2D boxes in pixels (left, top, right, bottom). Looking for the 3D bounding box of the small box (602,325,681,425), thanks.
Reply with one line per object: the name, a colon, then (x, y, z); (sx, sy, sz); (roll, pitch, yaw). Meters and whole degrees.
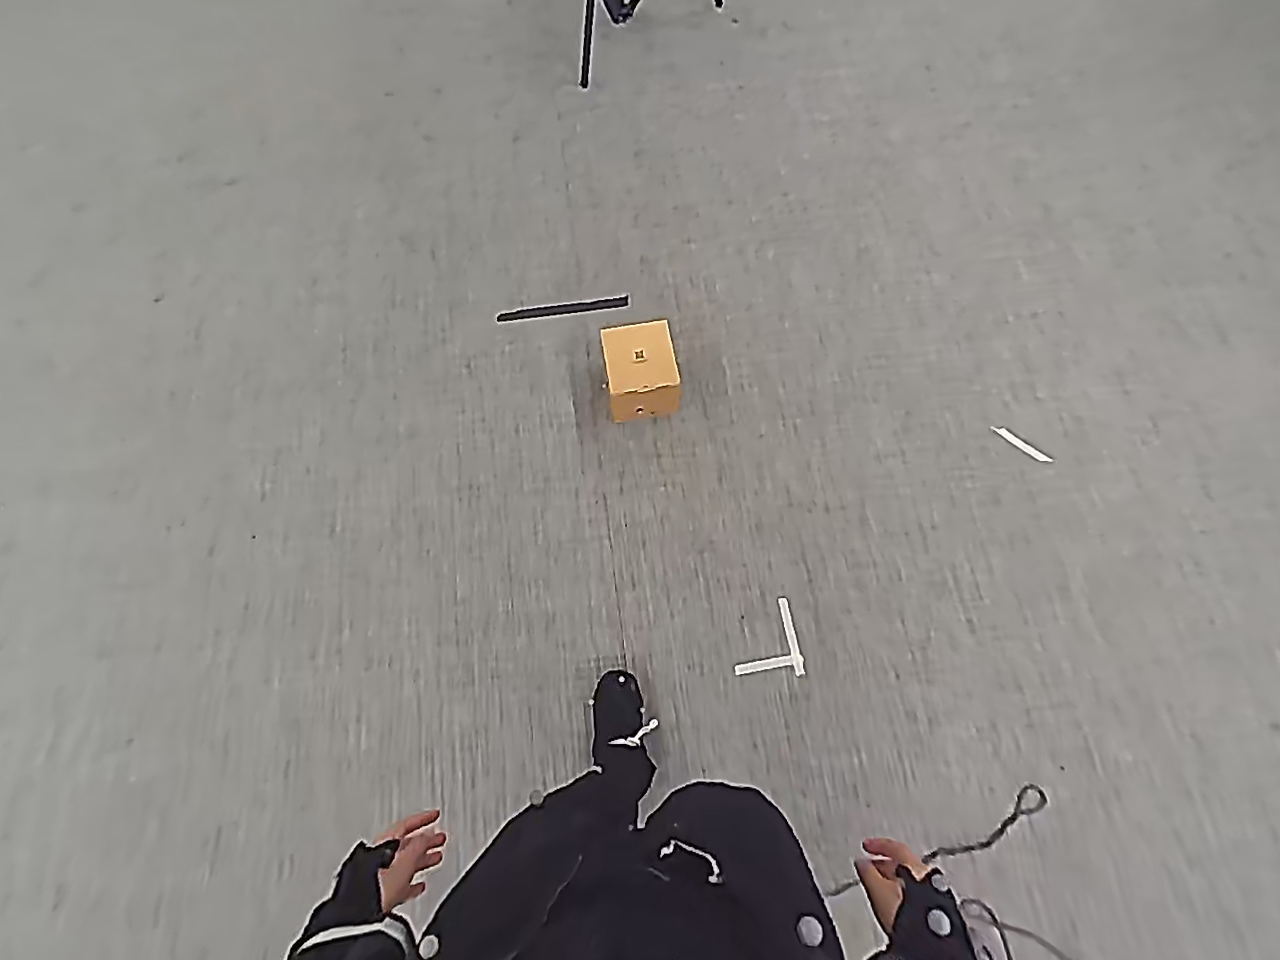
small box: (-0.001, -0.258, 1.347); (0.168, 0.176, 0.179); (-10, 74, -4)
